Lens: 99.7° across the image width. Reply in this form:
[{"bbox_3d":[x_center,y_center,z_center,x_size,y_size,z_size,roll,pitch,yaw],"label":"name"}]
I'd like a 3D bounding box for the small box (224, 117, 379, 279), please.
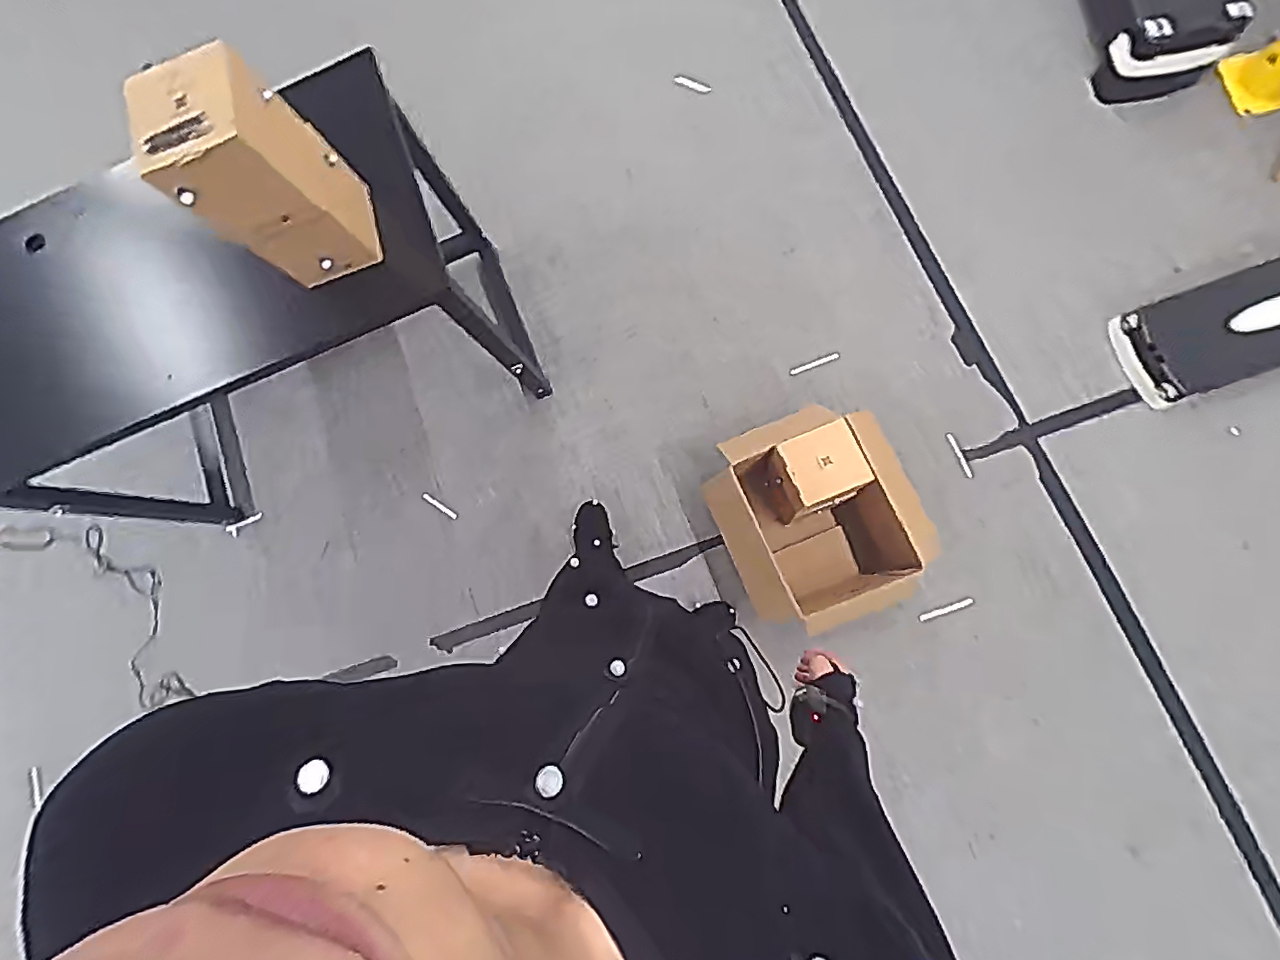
[{"bbox_3d":[-0.613,-0.507,0.995,0.168,0.176,0.179,-17,80,6],"label":"small box"}]
